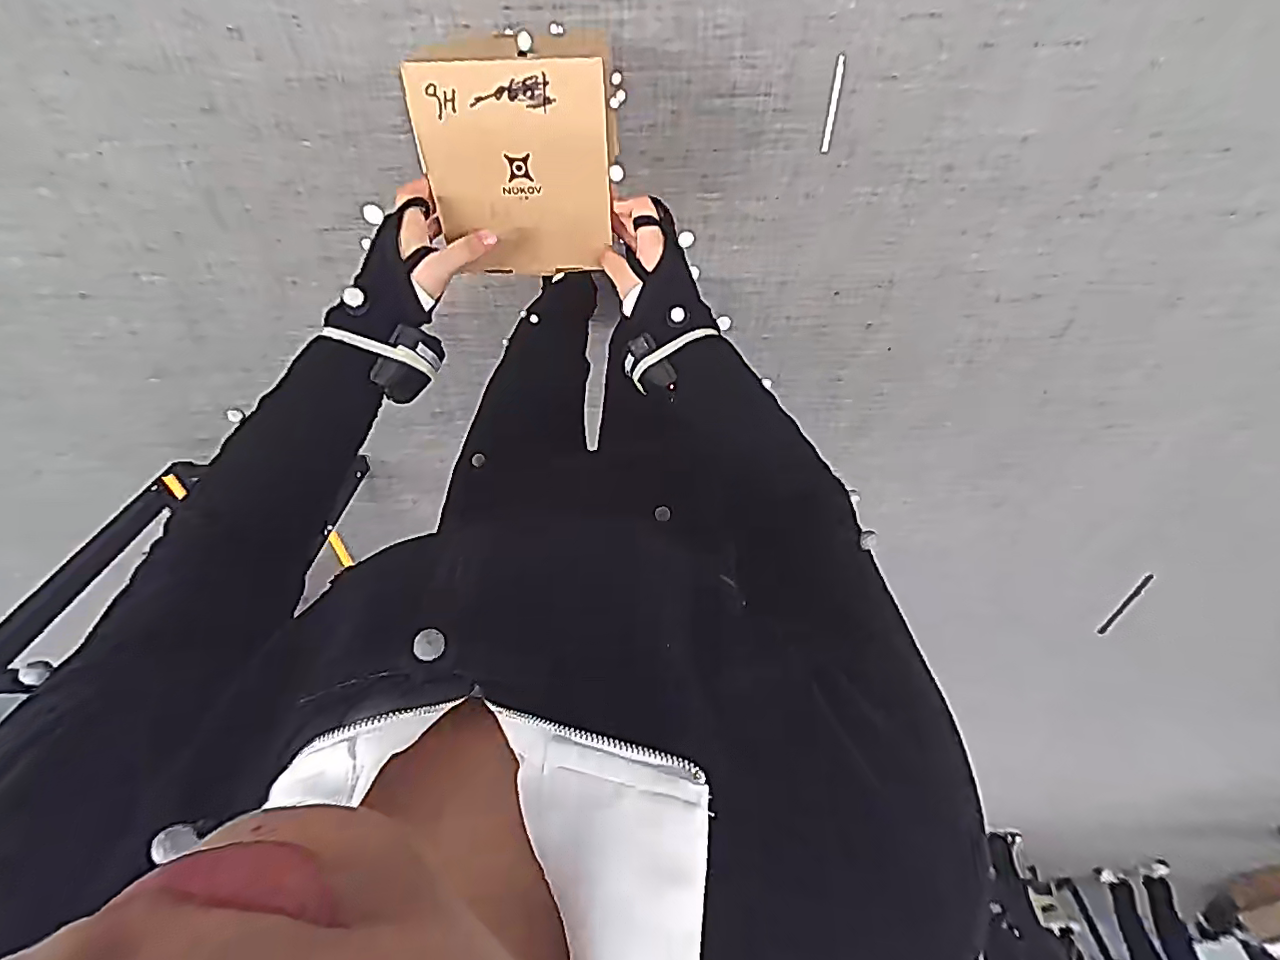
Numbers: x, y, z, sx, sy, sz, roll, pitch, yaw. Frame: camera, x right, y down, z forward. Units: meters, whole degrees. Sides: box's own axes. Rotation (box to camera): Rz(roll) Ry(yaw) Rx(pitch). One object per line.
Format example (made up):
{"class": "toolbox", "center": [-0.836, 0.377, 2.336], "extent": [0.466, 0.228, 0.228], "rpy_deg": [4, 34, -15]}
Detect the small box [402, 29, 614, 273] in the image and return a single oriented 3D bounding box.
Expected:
{"class": "small box", "center": [-0.111, -0.330, 0.546], "extent": [0.168, 0.176, 0.179], "rpy_deg": [-1, 135, -1]}
